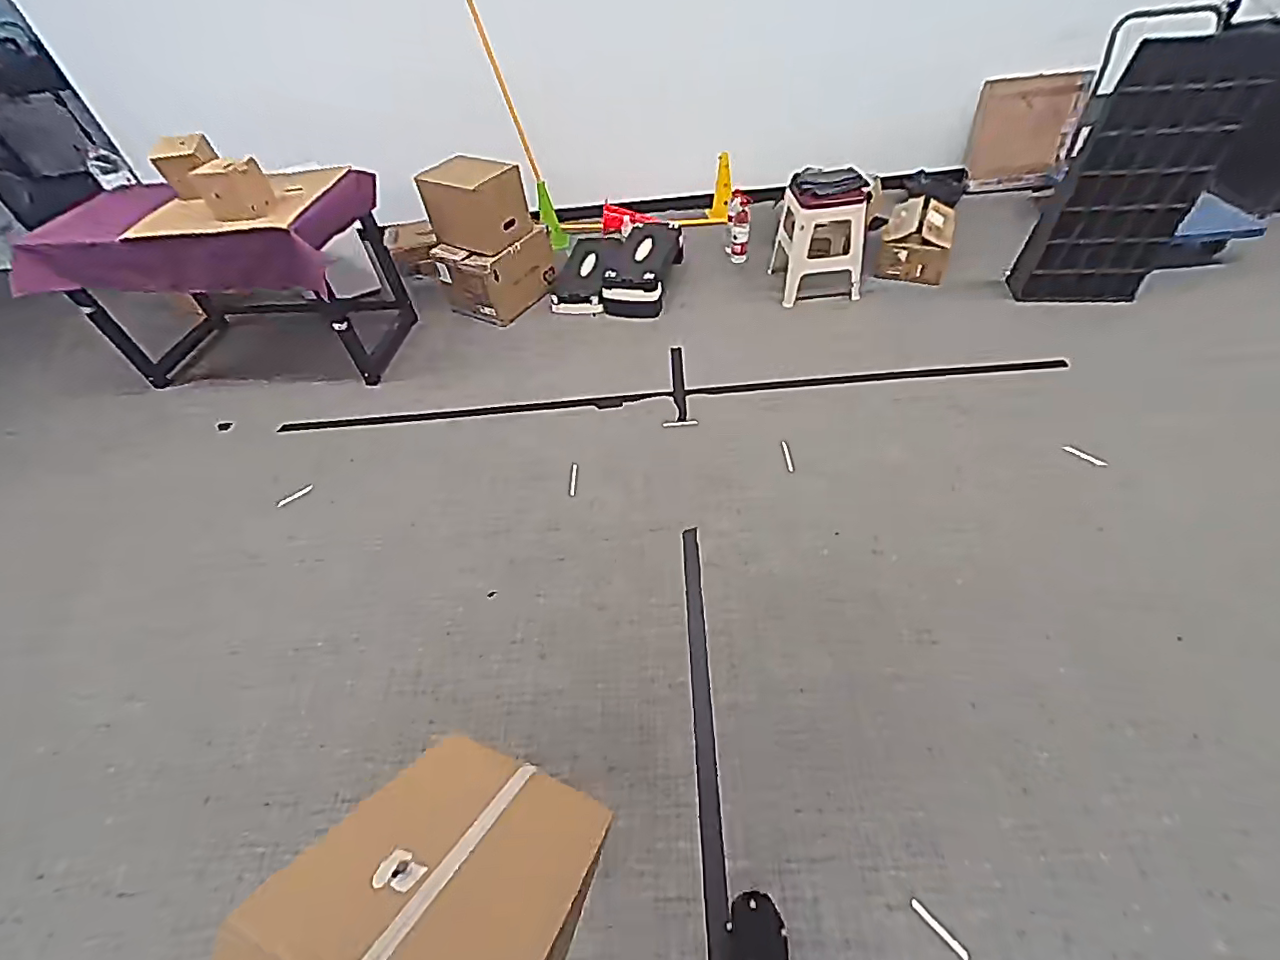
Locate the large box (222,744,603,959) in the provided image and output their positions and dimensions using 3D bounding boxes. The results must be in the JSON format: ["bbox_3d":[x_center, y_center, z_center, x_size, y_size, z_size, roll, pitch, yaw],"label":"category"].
[{"bbox_3d":[-0.289,0.656,0.735,0.320,0.408,0.320,17,96,14],"label":"large box"}]
